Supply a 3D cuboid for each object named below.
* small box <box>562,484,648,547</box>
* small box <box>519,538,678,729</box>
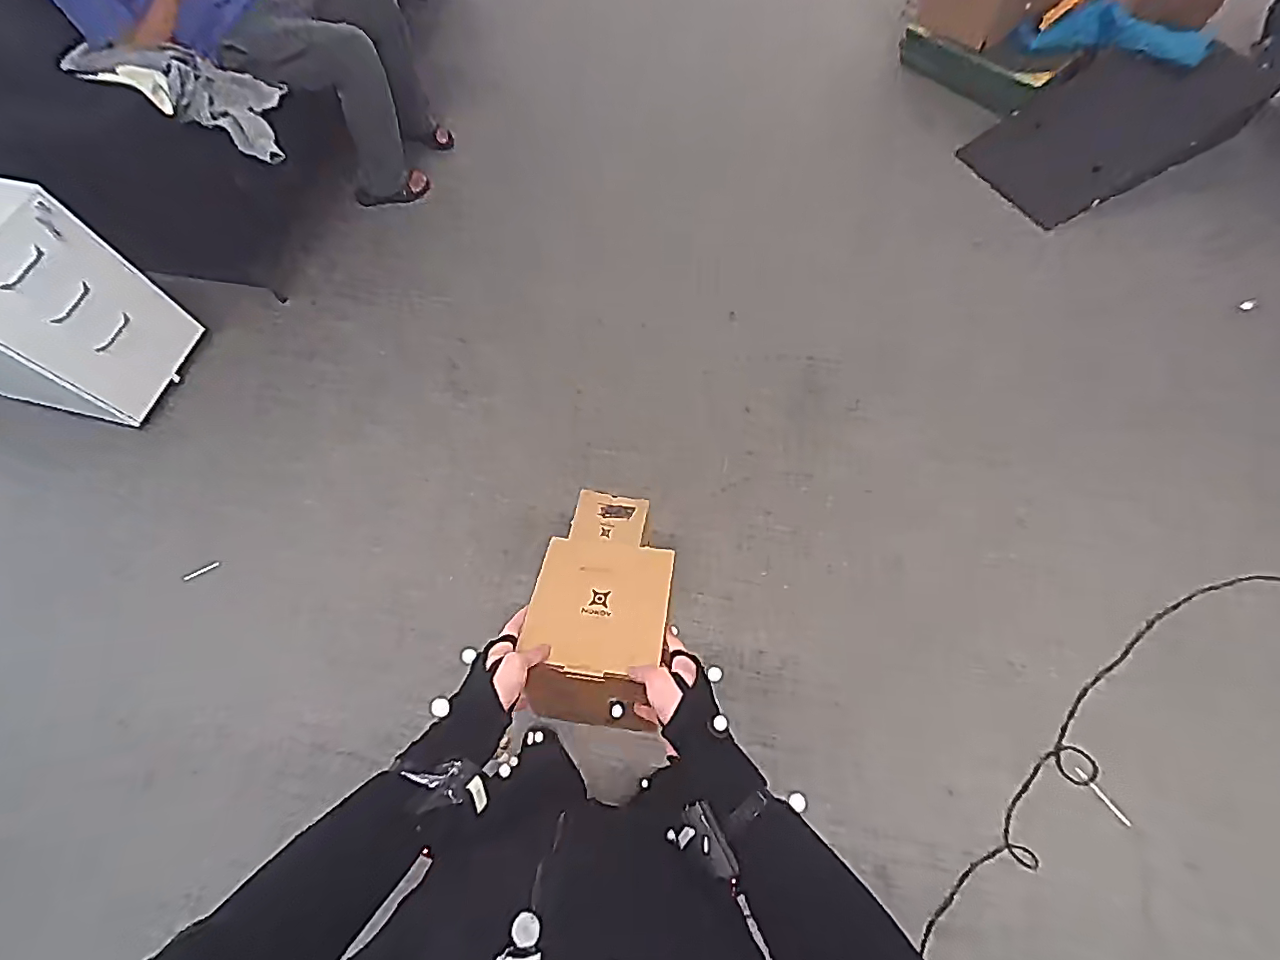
[{"bbox_3d":[-0.080,0.135,1.296,0.168,0.176,0.179,12,67,8],"label":"small box"},{"bbox_3d":[-0.042,0.201,0.701,0.168,0.176,0.179,6,46,5],"label":"small box"}]
